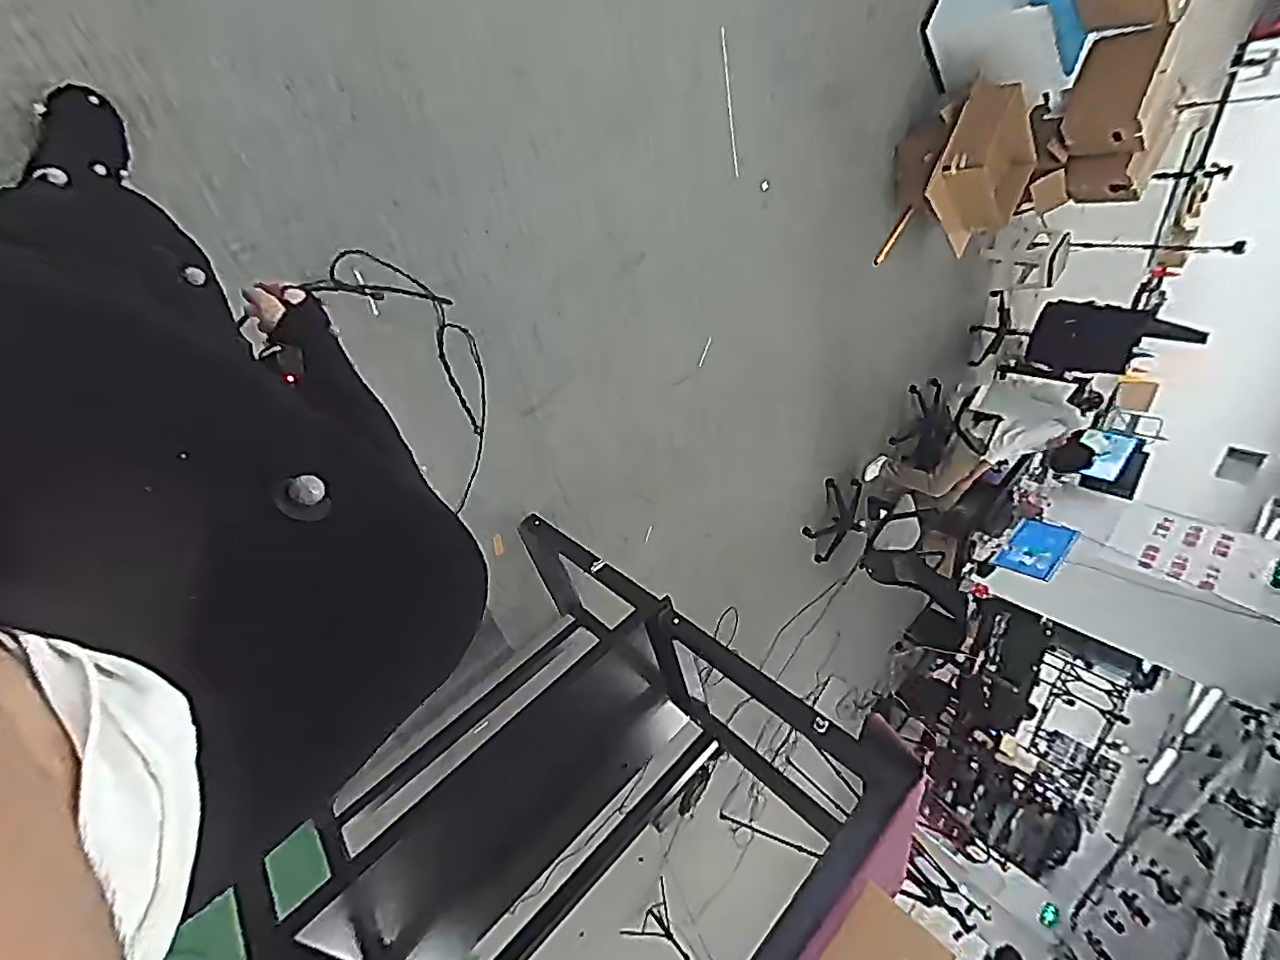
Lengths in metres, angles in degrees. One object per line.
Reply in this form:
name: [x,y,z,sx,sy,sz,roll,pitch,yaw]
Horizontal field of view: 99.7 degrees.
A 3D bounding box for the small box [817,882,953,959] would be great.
small box: [0.446,0.904,1.003,0.179,0.176,0.168,-38,131,-25]
